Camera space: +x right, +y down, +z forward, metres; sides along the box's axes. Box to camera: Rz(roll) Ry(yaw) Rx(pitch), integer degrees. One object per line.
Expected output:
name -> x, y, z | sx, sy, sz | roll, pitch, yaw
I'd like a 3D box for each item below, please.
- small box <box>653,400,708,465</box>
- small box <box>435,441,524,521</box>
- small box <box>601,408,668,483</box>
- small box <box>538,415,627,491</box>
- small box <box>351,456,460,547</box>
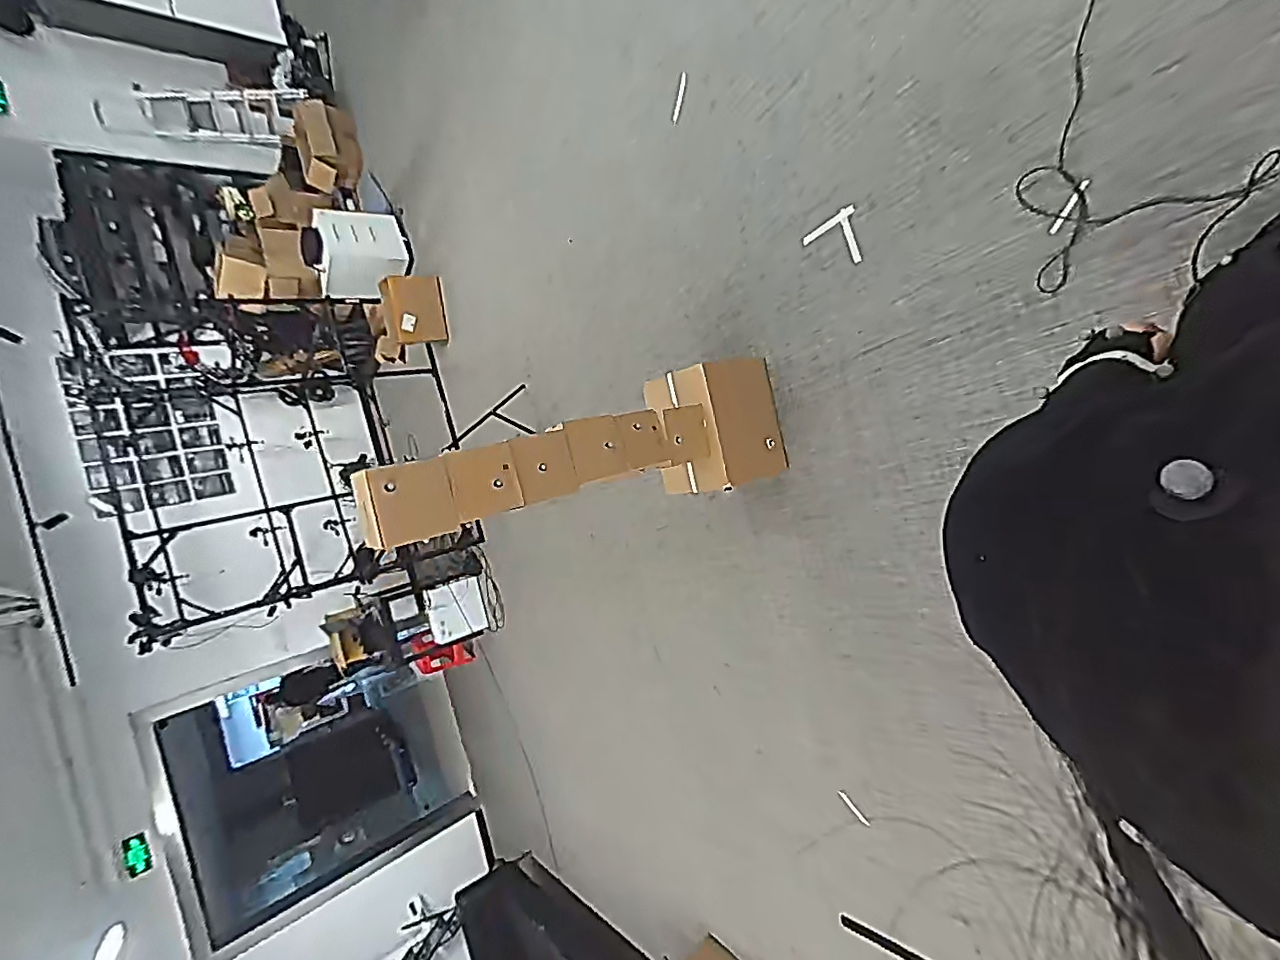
small box -> 0.098, -0.148, 1.715 | 0.168, 0.176, 0.179 | -3, 99, 52
small box -> -0.409, 0.008, 1.333 | 0.179, 0.176, 0.168 | -14, 91, 52
small box -> -0.035, -0.106, 1.630 | 0.179, 0.176, 0.168 | -29, 78, 53
small box -> -0.161, -0.080, 1.530 | 0.168, 0.176, 0.179 | -19, 86, 53
small box -> -0.532, 0.045, 1.232 | 0.168, 0.176, 0.179 | -6, 97, 53
